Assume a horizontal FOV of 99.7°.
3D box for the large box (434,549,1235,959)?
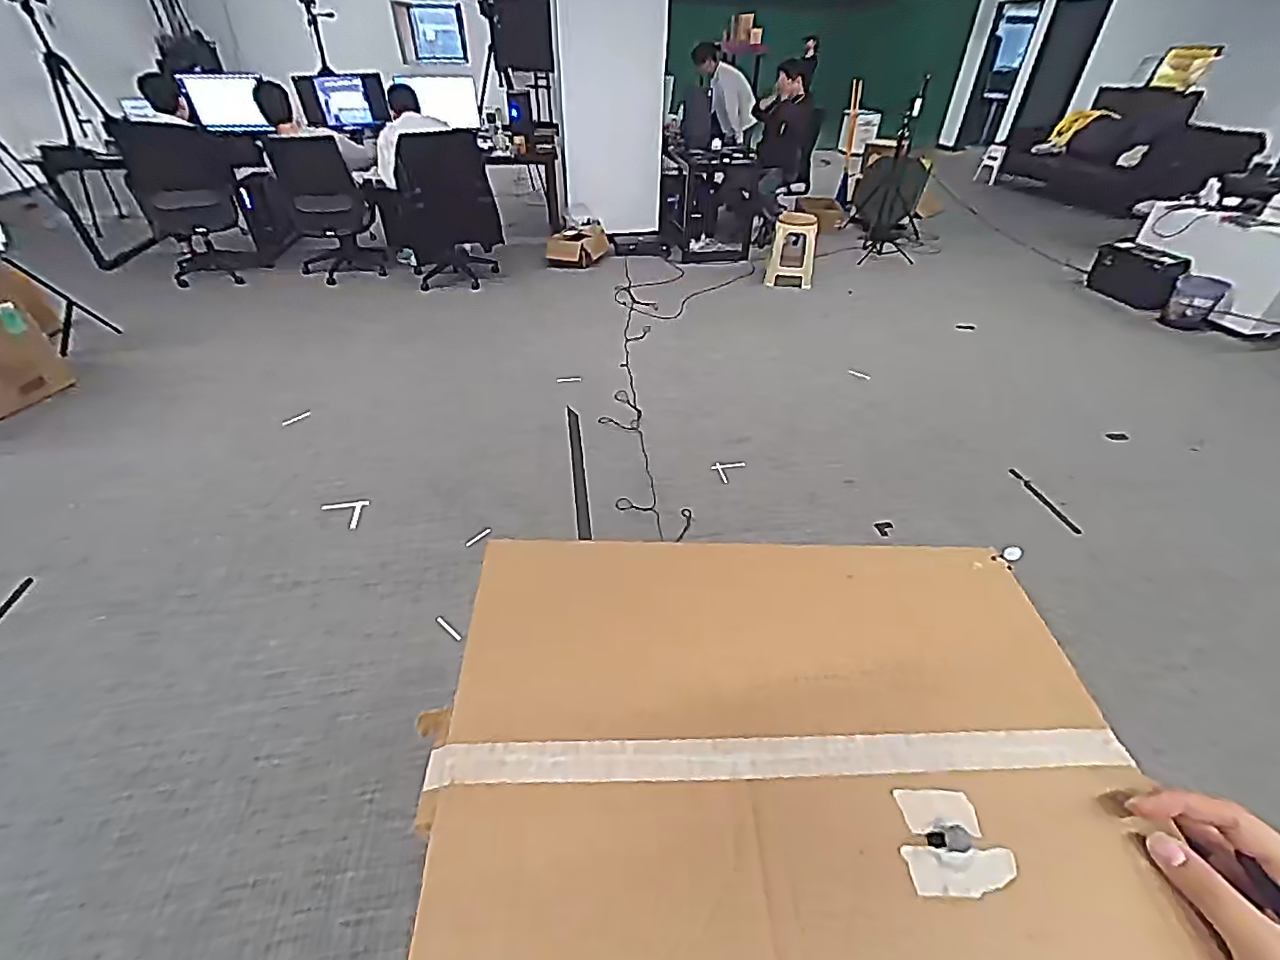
[{"bbox_3d":[0.081,0.270,0.427,0.408,0.320,0.320,2,46,-6],"label":"large box"}]
